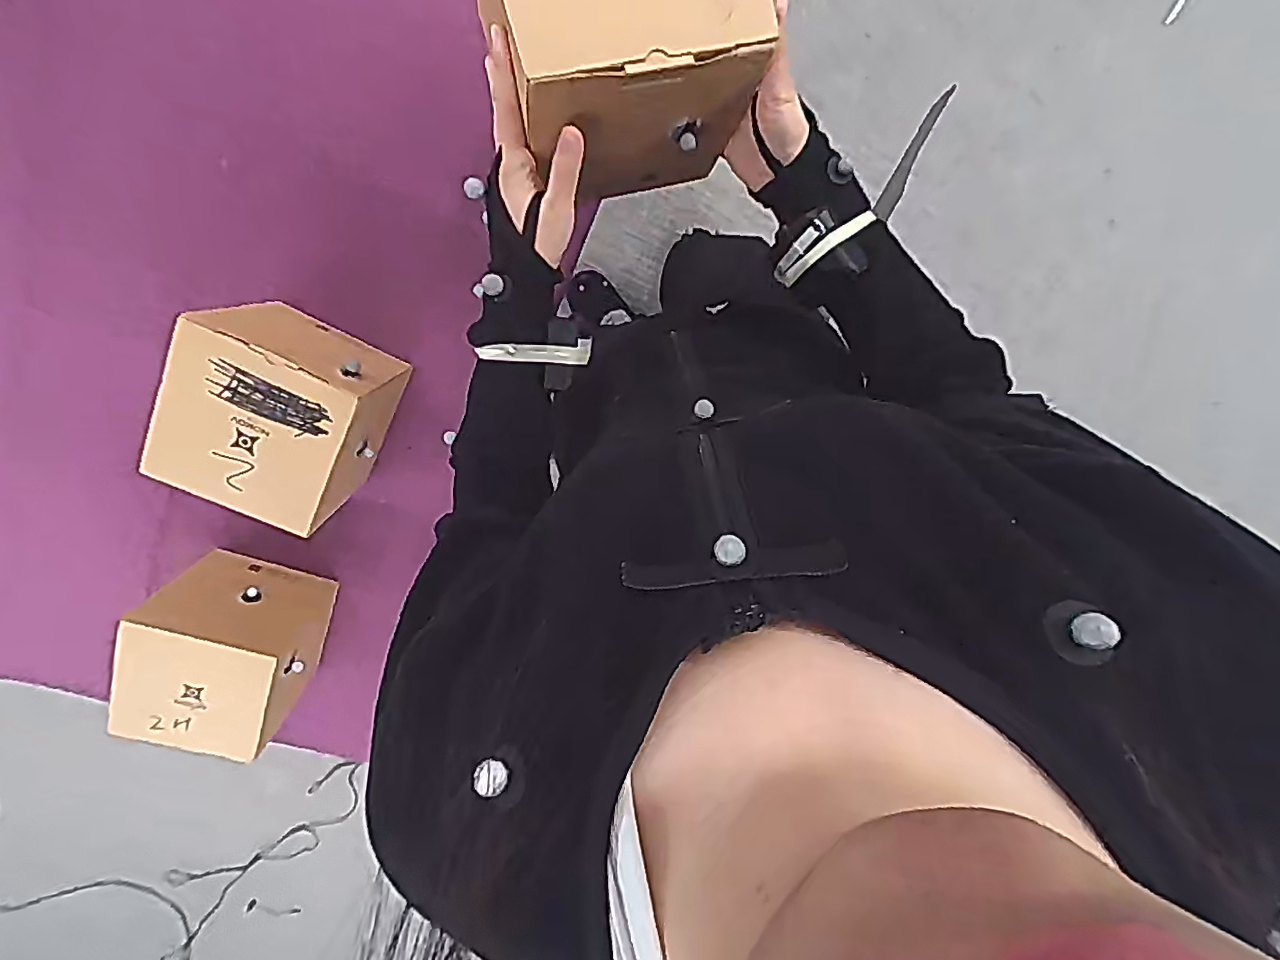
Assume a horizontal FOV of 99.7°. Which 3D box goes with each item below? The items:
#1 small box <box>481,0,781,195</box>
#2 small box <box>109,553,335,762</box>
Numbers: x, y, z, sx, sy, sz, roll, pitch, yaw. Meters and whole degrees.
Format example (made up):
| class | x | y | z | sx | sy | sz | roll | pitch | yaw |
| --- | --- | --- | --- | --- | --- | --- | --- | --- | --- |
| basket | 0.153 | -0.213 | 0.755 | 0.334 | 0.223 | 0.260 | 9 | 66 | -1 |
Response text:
| class | x | y | z | sx | sy | sz | roll | pitch | yaw |
| --- | --- | --- | --- | --- | --- | --- | --- | --- | --- |
| small box | -0.022 | -0.335 | 0.395 | 0.168 | 0.176 | 0.179 | -16 | 94 | -9 |
| small box | -0.528 | 0.222 | 0.707 | 0.168 | 0.176 | 0.179 | 20 | 108 | -11 |
